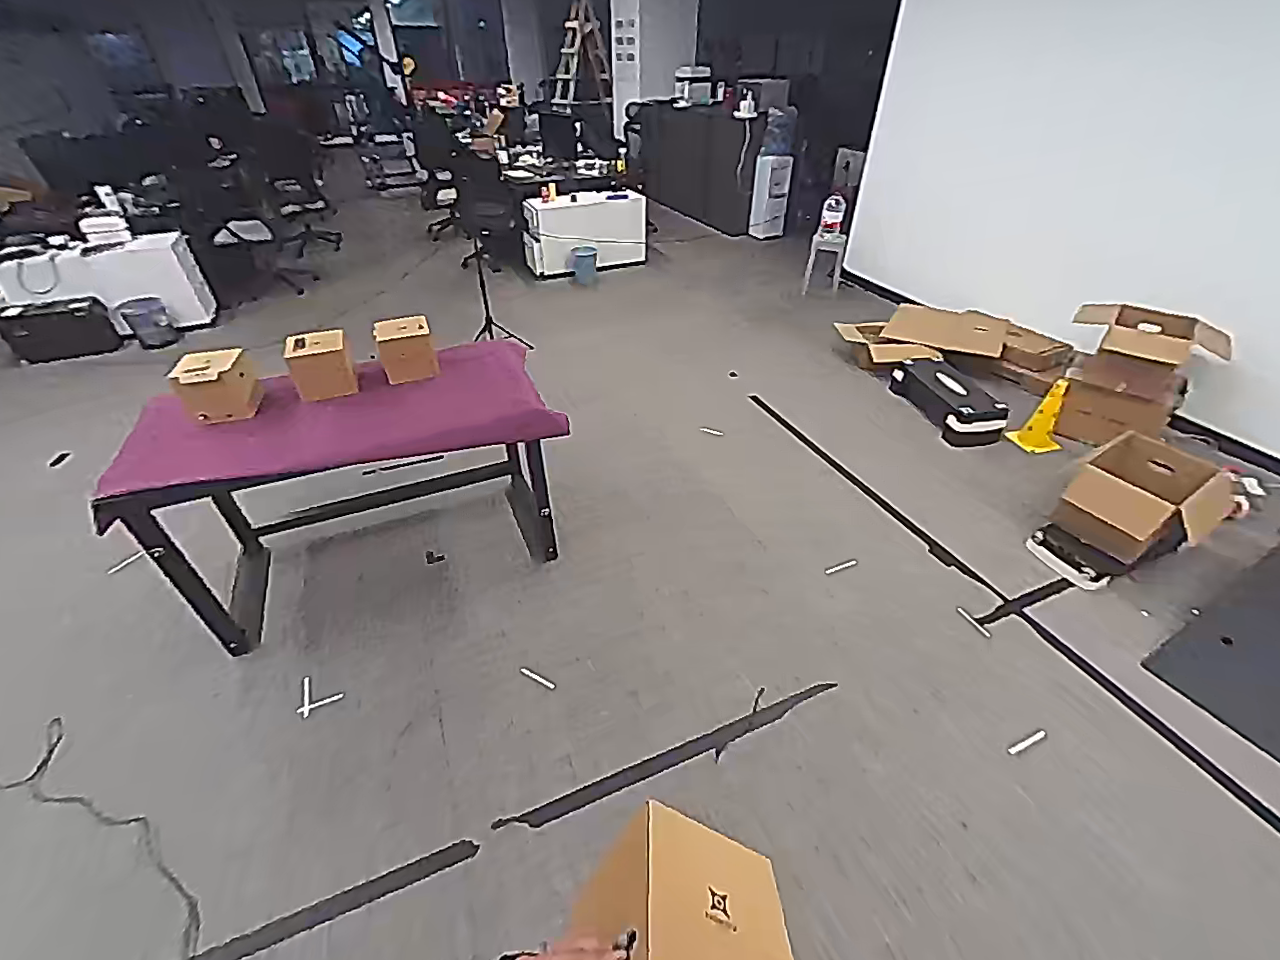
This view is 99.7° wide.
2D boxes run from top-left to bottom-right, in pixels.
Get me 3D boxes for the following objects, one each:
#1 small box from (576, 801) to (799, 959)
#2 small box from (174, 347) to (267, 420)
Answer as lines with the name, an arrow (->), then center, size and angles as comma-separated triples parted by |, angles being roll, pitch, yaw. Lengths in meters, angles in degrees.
small box -> 0.039, 0.479, 0.537 | 0.168, 0.176, 0.179 | 29, 13, -6
small box -> -1.339, -0.306, 1.741 | 0.168, 0.176, 0.179 | -11, 40, -13
